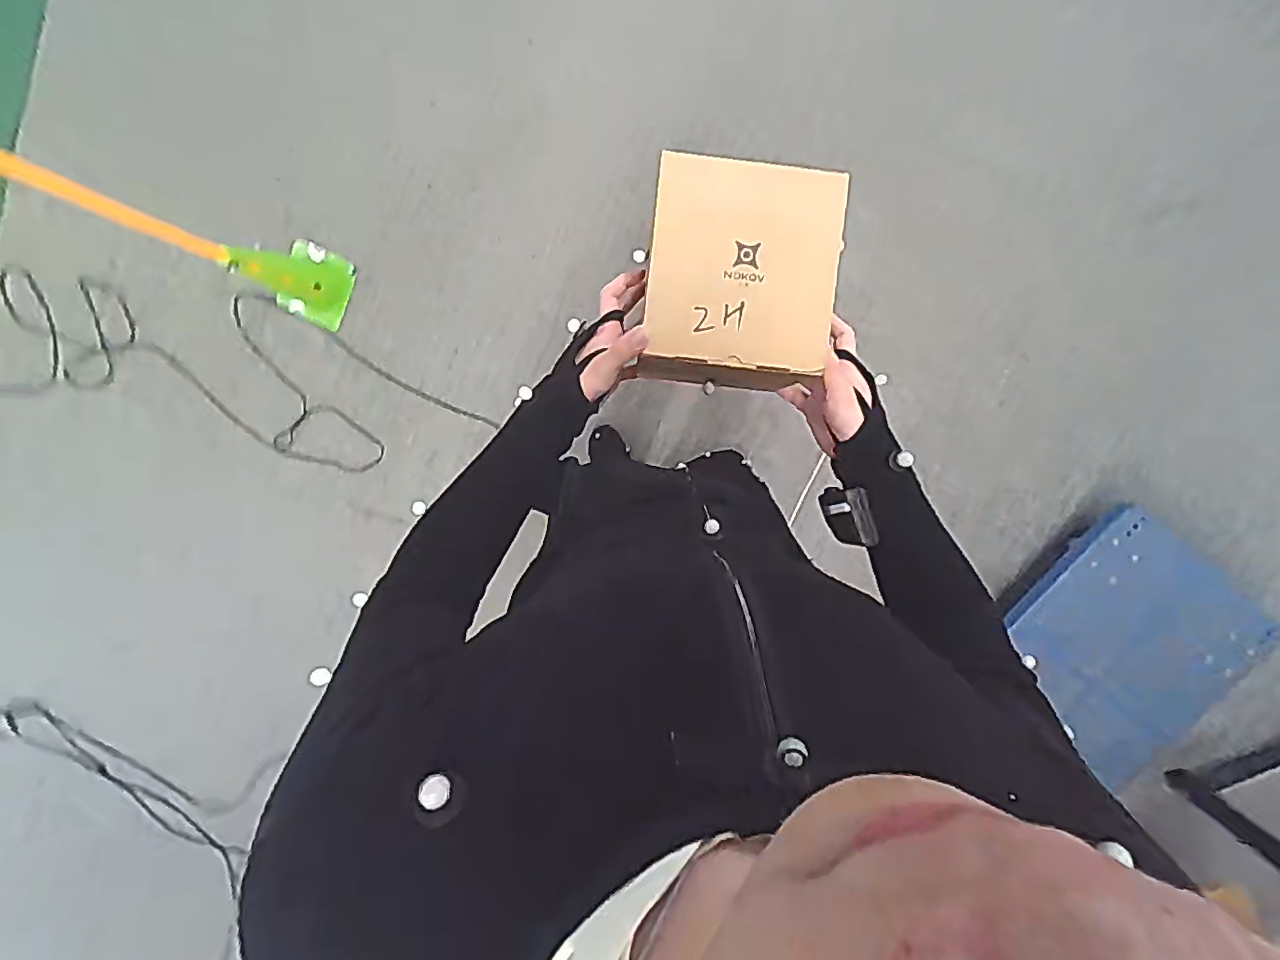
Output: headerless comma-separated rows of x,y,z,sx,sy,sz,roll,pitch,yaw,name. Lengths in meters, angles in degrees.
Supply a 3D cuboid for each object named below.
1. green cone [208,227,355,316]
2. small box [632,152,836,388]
-0.953,-0.572,1.400,0.200,0.368,0.202,25,101,-1,green cone
0.082,-0.198,0.558,0.168,0.176,0.179,6,95,-1,small box
